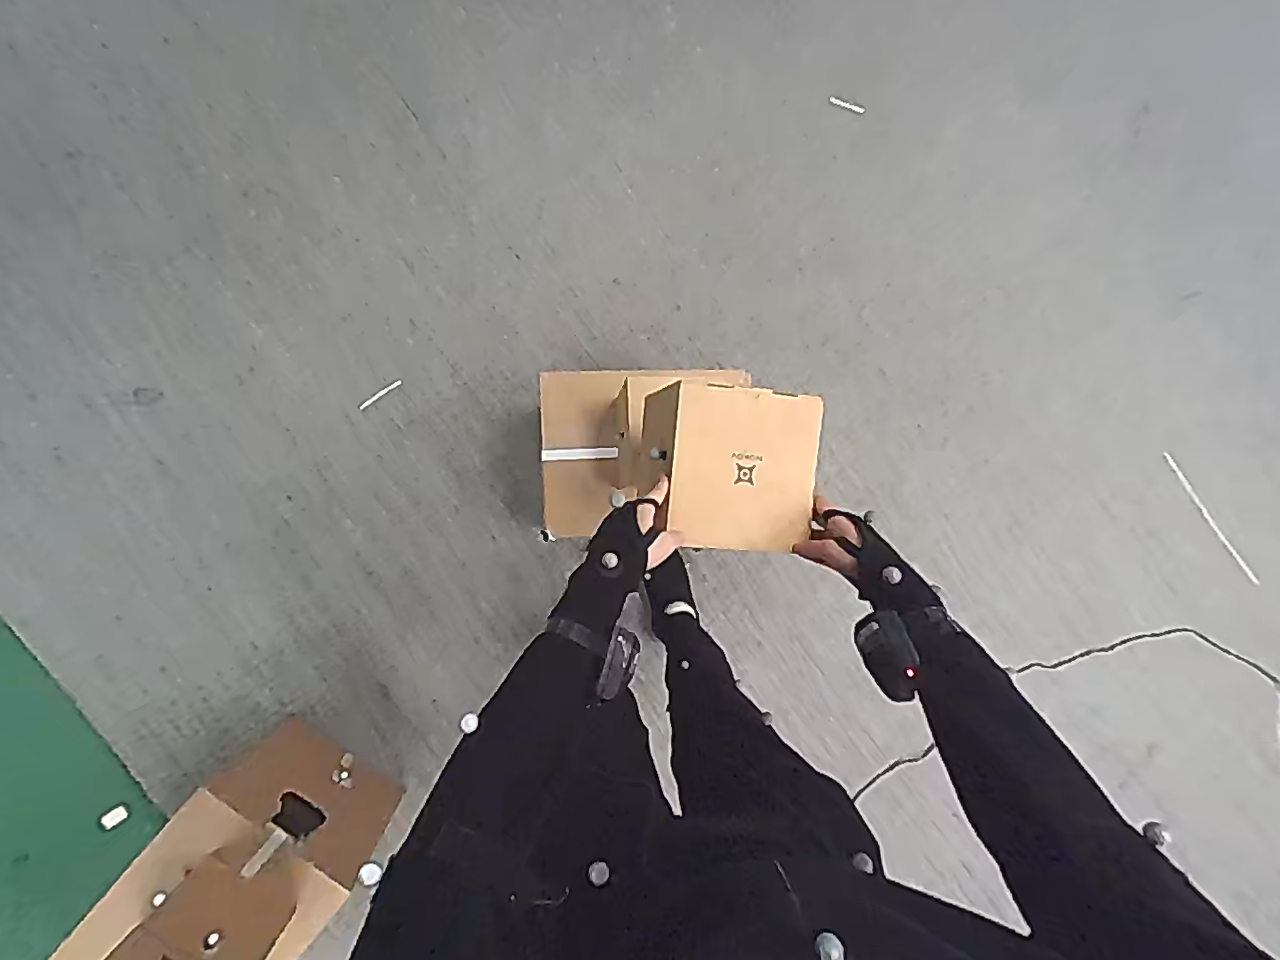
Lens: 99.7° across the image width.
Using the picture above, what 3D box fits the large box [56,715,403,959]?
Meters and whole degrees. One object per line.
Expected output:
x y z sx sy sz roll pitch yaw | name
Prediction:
-0.742 0.753 1.033 0.320 0.320 0.408 40 84 -3 | large box

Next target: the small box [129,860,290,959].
-0.671 0.718 0.798 0.179 0.176 0.168 41 82 -4 | small box

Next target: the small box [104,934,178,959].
-0.648 0.706 0.636 0.168 0.176 0.179 39 83 -5 | small box

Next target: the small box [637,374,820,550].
0.095 -0.019 0.655 0.168 0.176 0.179 5 90 -11 | small box
